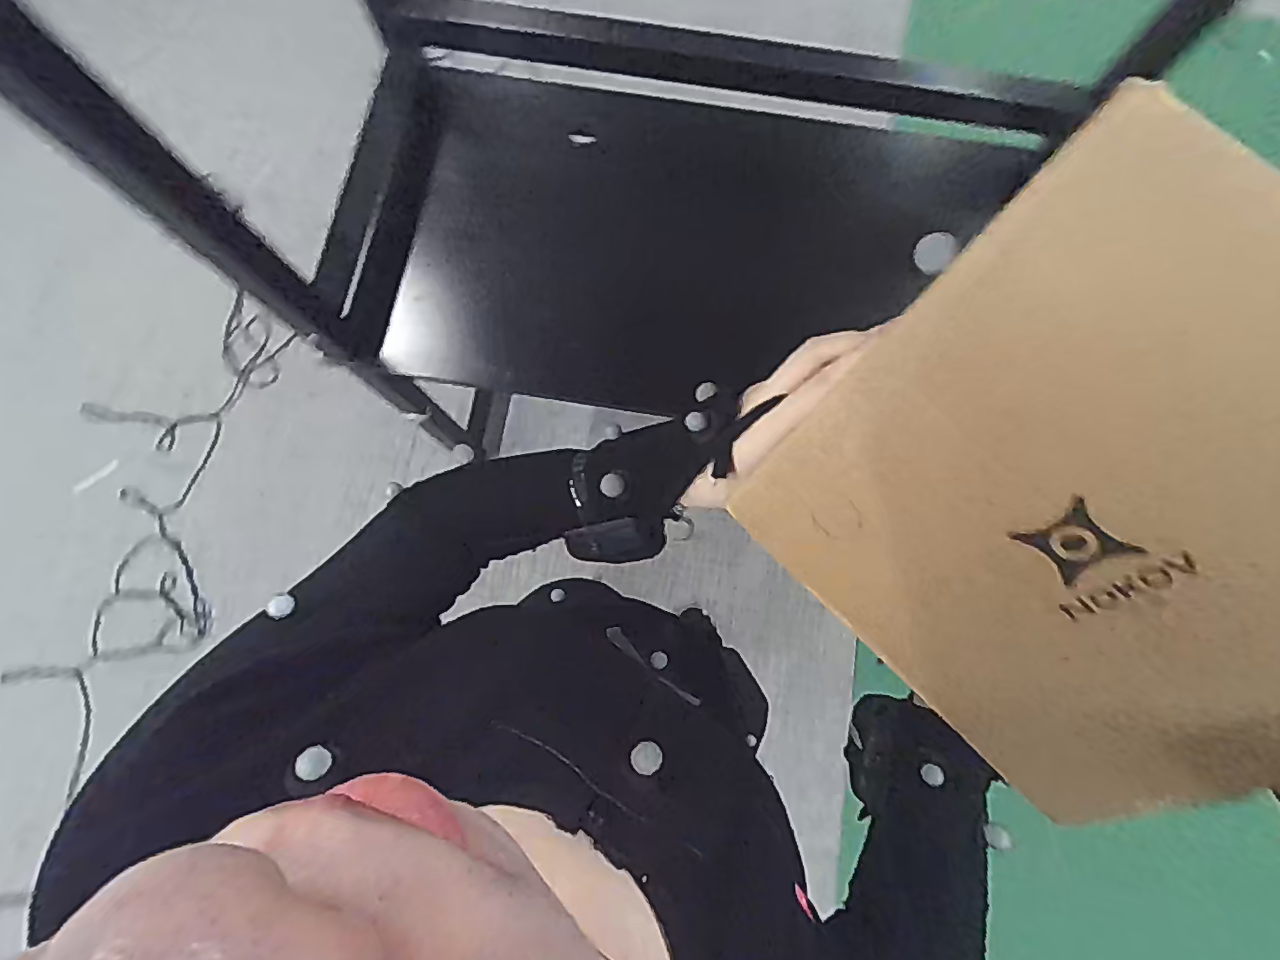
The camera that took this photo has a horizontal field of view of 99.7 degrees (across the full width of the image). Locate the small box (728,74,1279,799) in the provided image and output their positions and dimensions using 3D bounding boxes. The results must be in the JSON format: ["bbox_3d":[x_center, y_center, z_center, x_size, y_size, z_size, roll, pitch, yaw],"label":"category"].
[{"bbox_3d":[0.176,-0.018,0.223,0.179,0.168,0.176,45,43,8],"label":"small box"}]
